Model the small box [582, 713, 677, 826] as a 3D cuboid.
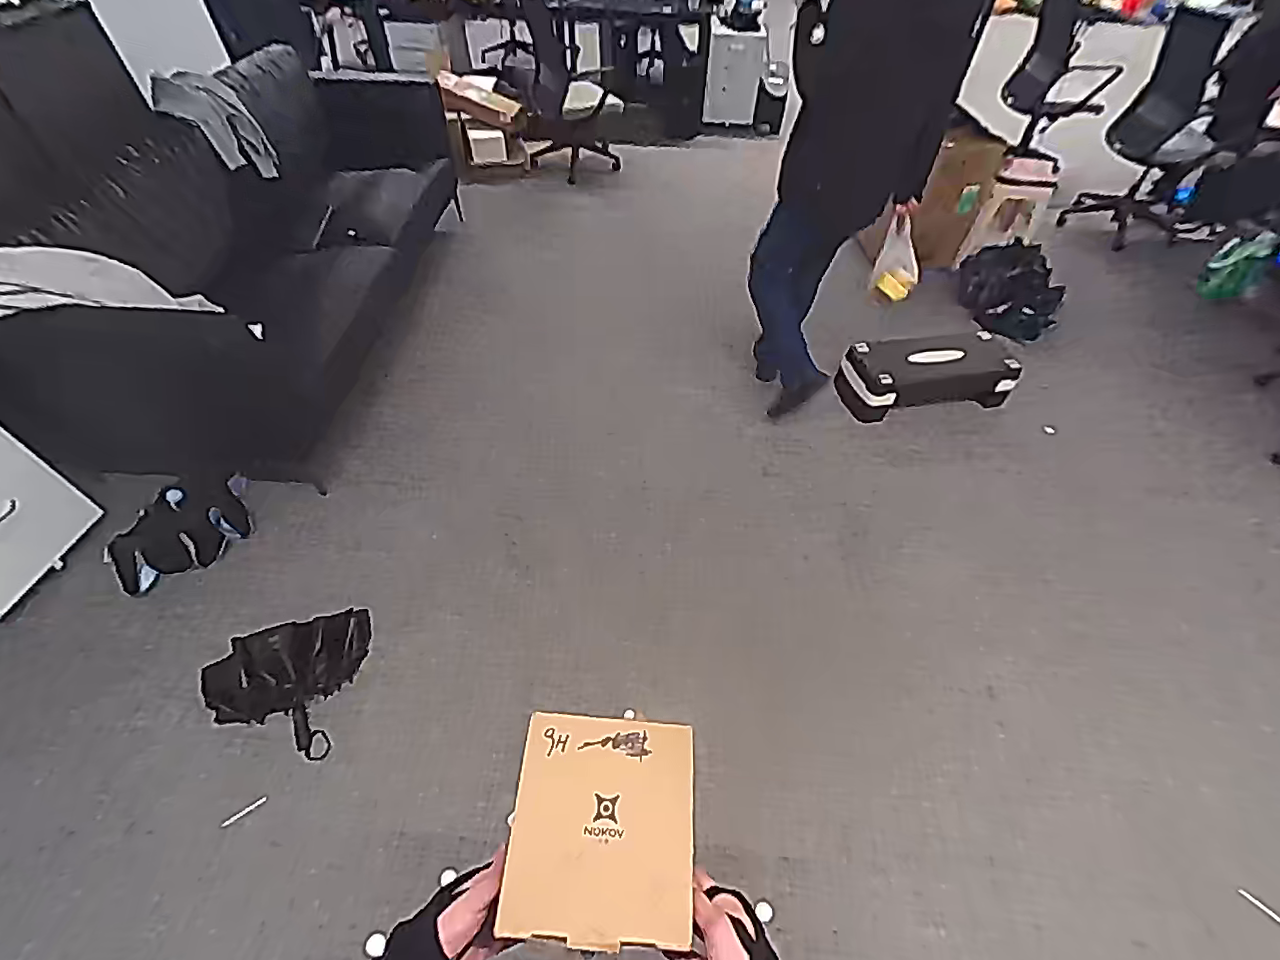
[{"bbox_3d":[-0.026,0.715,1.325,0.168,0.176,0.179,-26,54,-23],"label":"small box"}]
